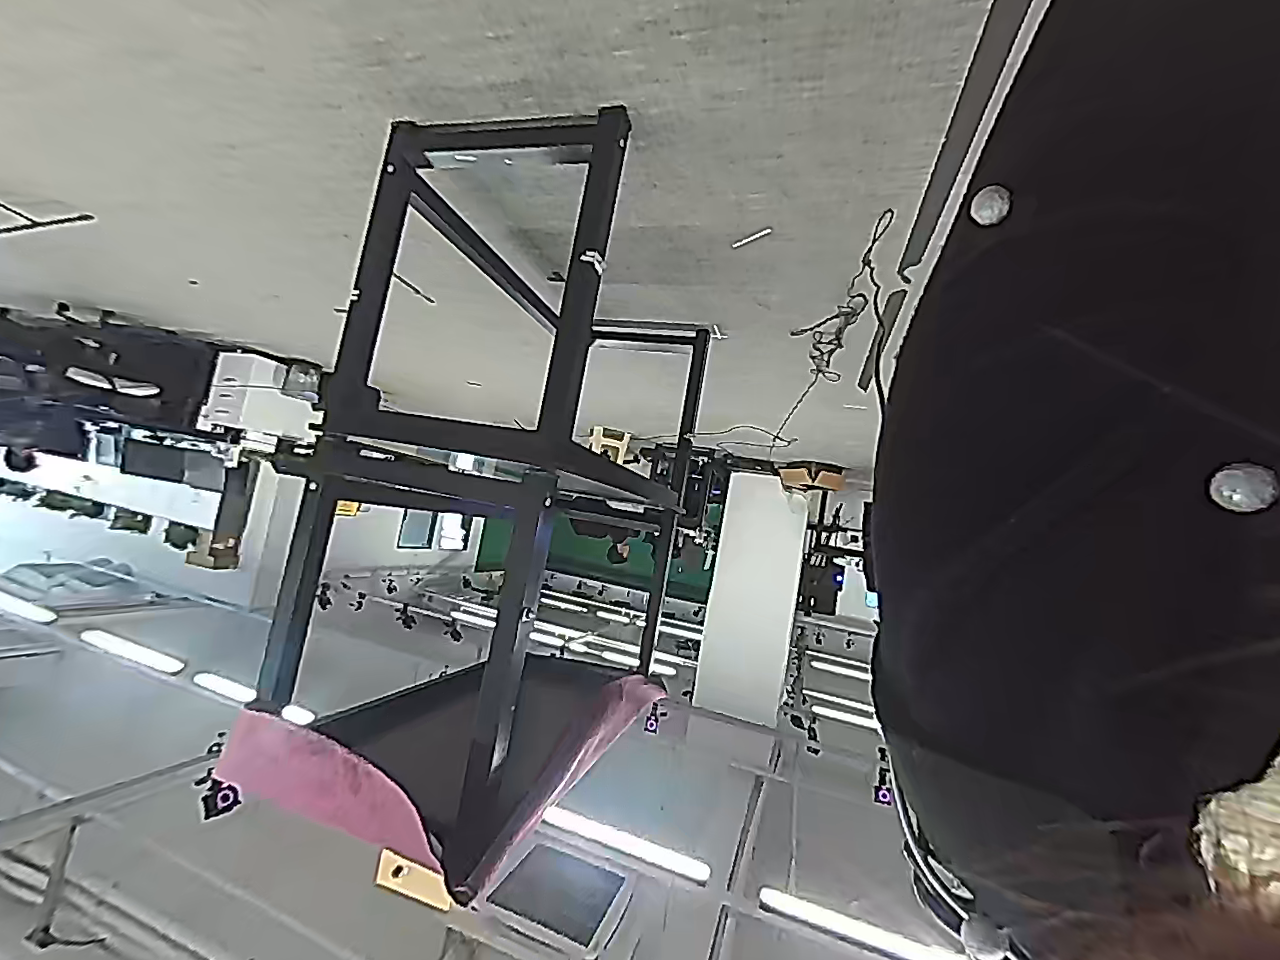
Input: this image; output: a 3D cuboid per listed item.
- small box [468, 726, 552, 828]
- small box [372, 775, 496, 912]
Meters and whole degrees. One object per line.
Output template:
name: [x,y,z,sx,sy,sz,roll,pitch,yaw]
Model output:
small box: [-0.360,0.809,1.494,0.179,0.176,0.168,9,175,22]
small box: [-0.438,0.772,1.174,0.179,0.176,0.168,9,176,14]
